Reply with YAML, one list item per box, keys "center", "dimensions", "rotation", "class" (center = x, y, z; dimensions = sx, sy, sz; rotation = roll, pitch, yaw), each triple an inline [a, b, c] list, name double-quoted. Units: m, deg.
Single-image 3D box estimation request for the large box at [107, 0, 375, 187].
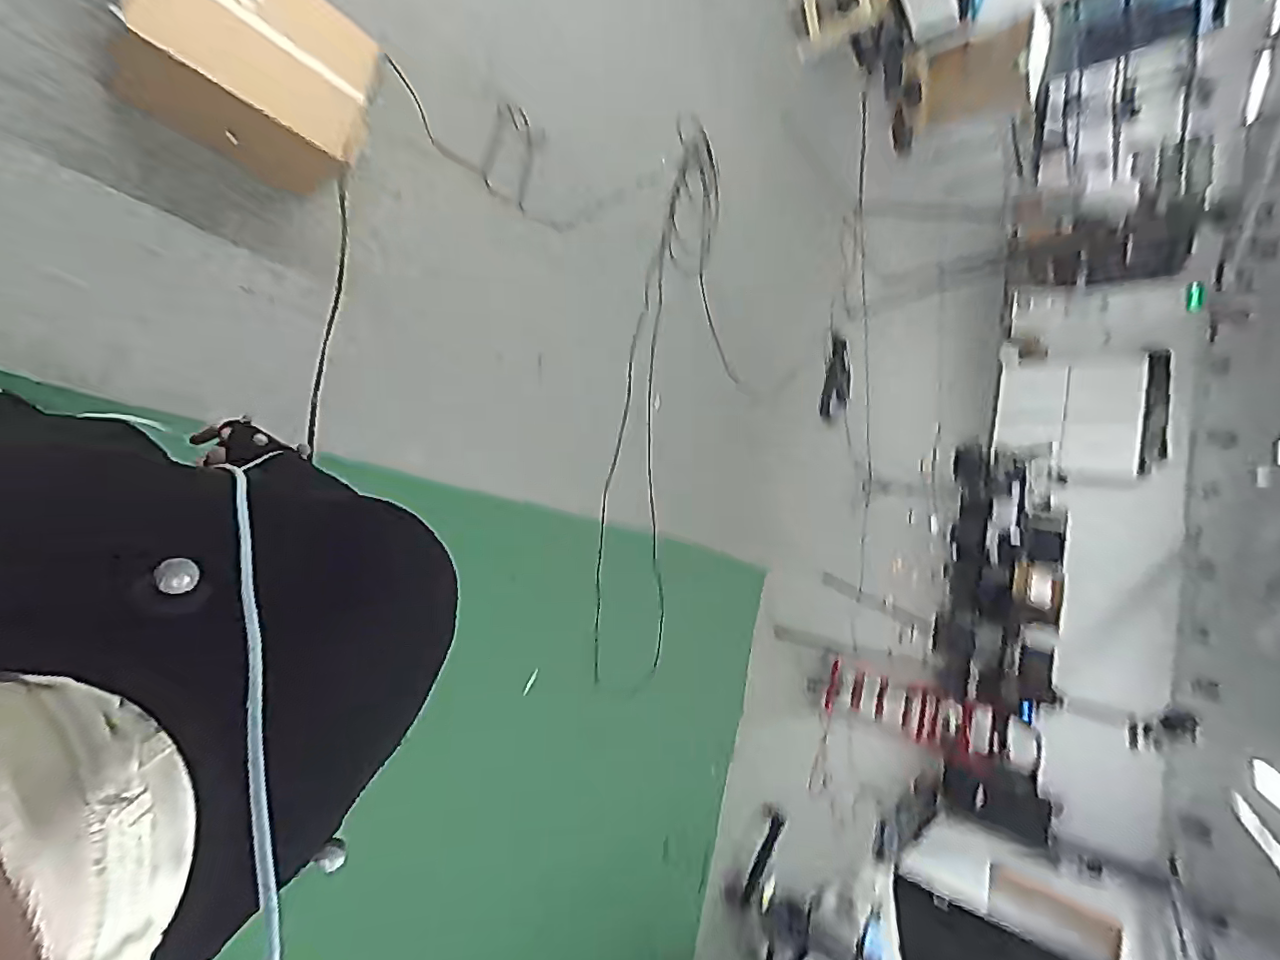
- center: [-0.887, -0.950, 1.221]
  dimensions: [0.408, 0.320, 0.320]
  rotation: [16, 82, -47]
  class: "large box"
